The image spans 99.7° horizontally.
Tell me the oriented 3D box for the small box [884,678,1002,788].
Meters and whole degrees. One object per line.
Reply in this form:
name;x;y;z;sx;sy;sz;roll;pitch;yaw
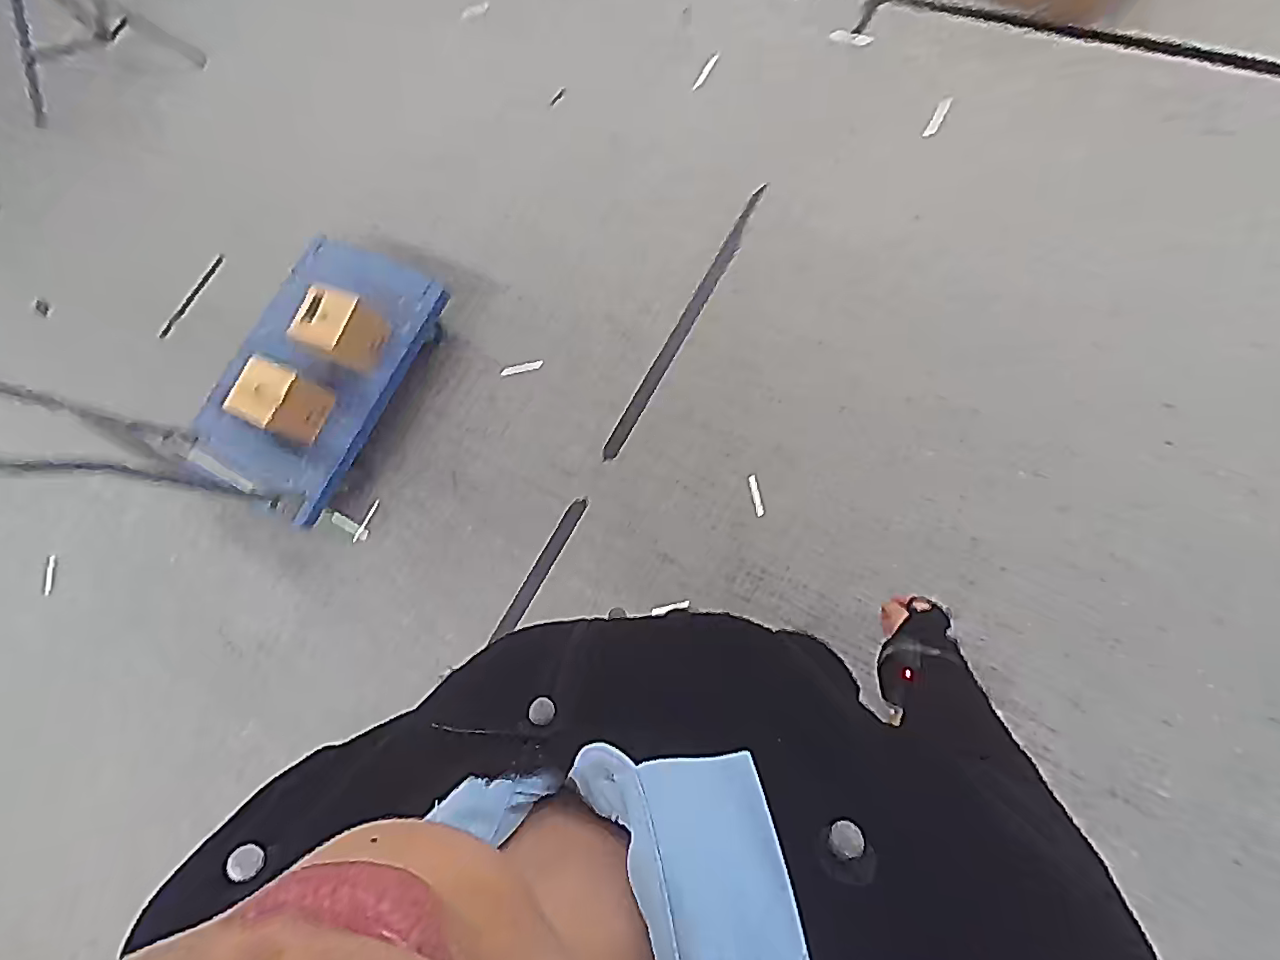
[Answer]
small box;0.685;0.567;1.239;0.179;0.176;0.168;15;79;14

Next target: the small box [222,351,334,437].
small box;-1.048;-0.244;1.577;0.179;0.176;0.168;22;81;14
